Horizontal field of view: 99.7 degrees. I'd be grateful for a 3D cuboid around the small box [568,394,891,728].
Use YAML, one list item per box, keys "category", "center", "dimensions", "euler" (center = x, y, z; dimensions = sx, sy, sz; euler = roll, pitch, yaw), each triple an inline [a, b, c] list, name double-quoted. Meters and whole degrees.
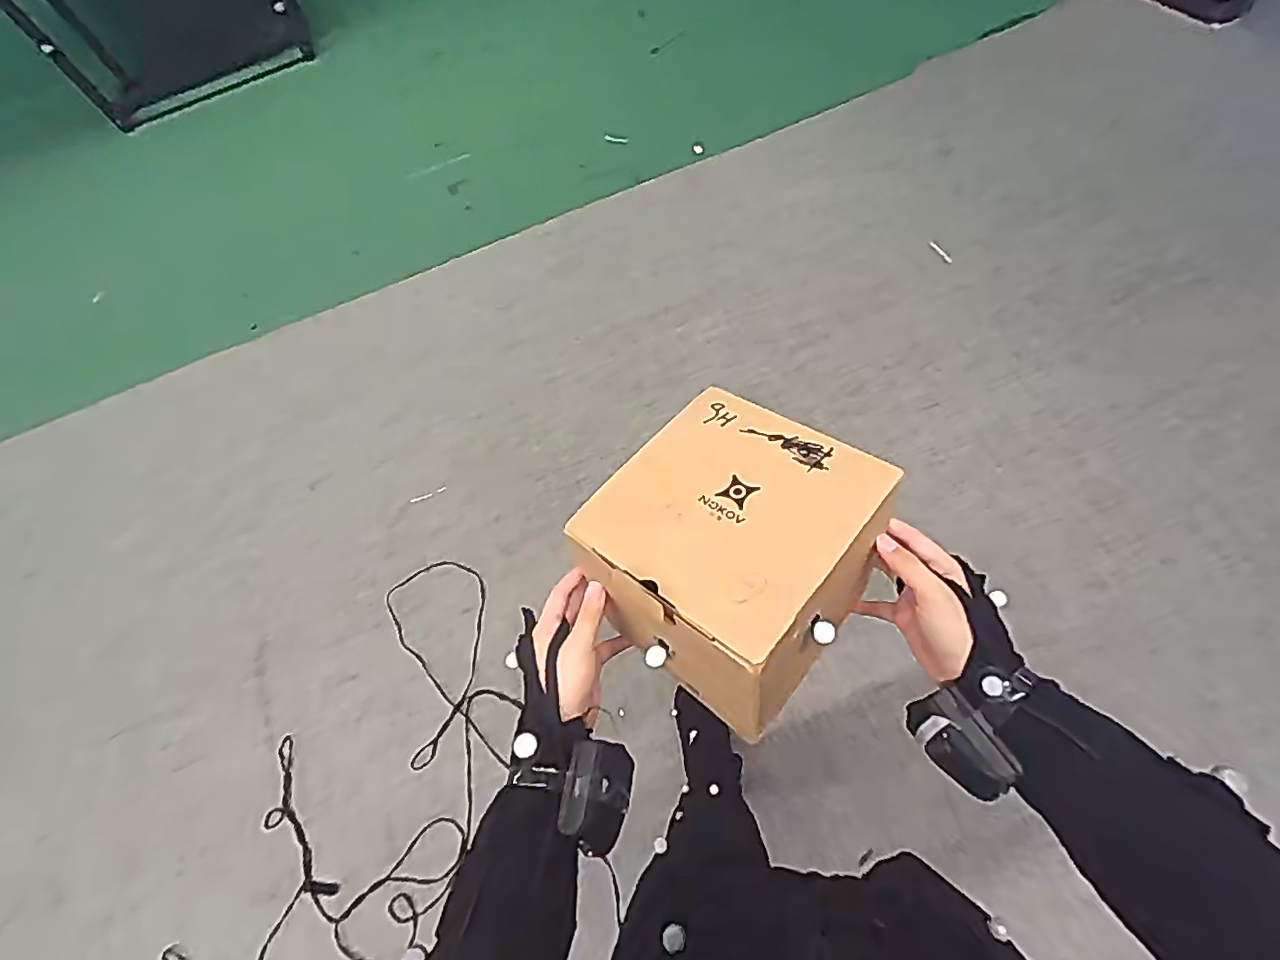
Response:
- category: "small box"
  center: [0.075, 0.068, 0.443]
  dimensions: [0.168, 0.176, 0.179]
  euler: [31, 64, 31]
